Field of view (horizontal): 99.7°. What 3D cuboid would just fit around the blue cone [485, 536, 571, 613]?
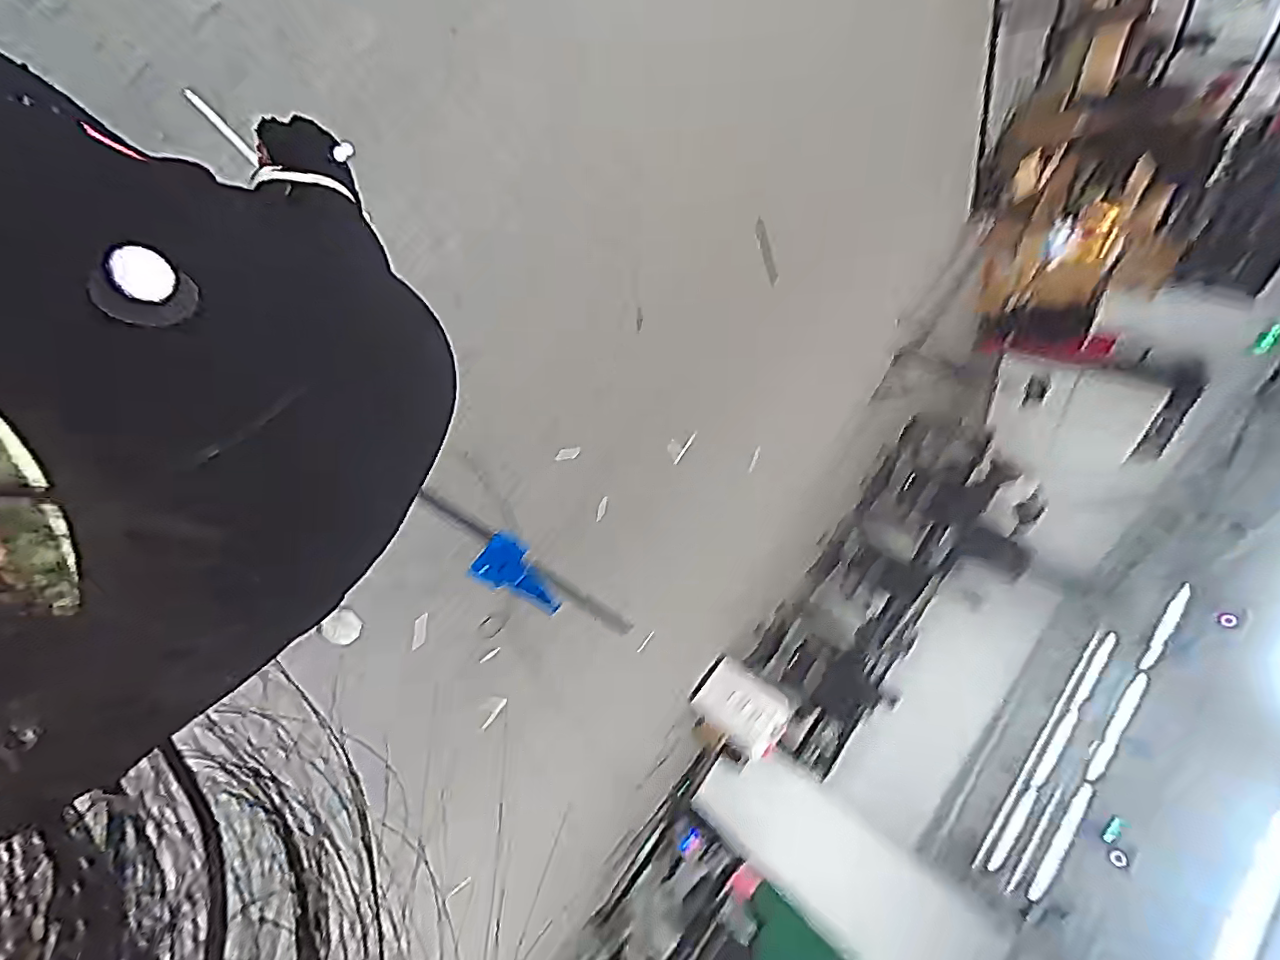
[{"bbox_3d":[-0.386,0.386,2.024,0.193,0.380,0.192,-54,145,-9],"label":"blue cone"}]
